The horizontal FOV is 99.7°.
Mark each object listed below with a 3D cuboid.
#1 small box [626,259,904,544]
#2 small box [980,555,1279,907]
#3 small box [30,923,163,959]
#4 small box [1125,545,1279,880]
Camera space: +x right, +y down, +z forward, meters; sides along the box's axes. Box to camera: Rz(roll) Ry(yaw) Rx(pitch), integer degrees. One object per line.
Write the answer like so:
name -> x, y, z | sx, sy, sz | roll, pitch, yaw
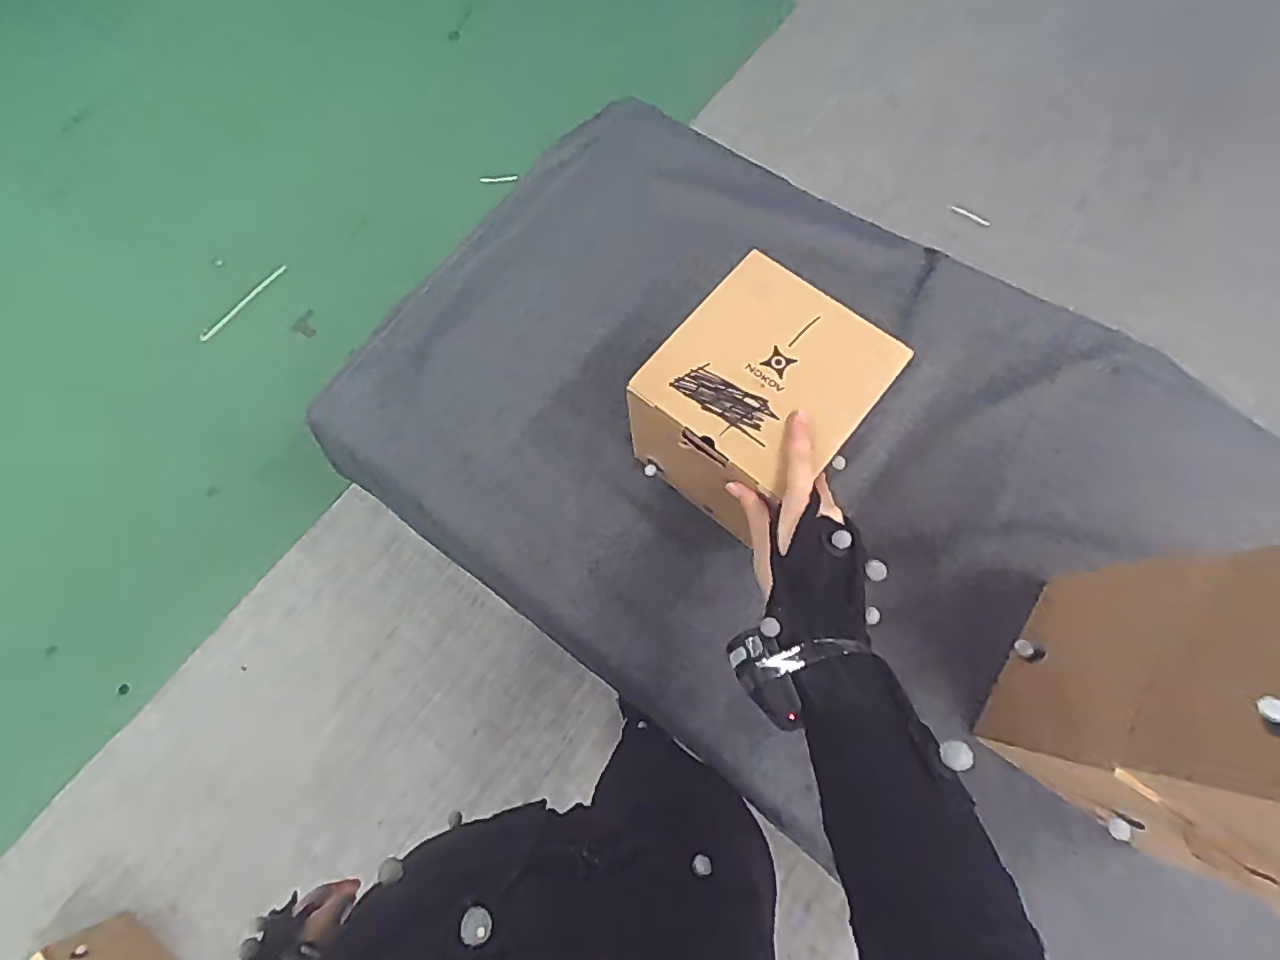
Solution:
small box -> 0.106, -0.062, 0.522 | 0.168, 0.176, 0.179 | 39, 76, 13
small box -> 0.413, 0.188, 0.428 | 0.168, 0.176, 0.179 | 34, 76, 13
small box -> -1.037, 0.969, 0.992 | 0.179, 0.176, 0.168 | 31, 76, 12
small box -> 0.410, 0.139, 0.272 | 0.168, 0.176, 0.179 | 37, 76, 12
